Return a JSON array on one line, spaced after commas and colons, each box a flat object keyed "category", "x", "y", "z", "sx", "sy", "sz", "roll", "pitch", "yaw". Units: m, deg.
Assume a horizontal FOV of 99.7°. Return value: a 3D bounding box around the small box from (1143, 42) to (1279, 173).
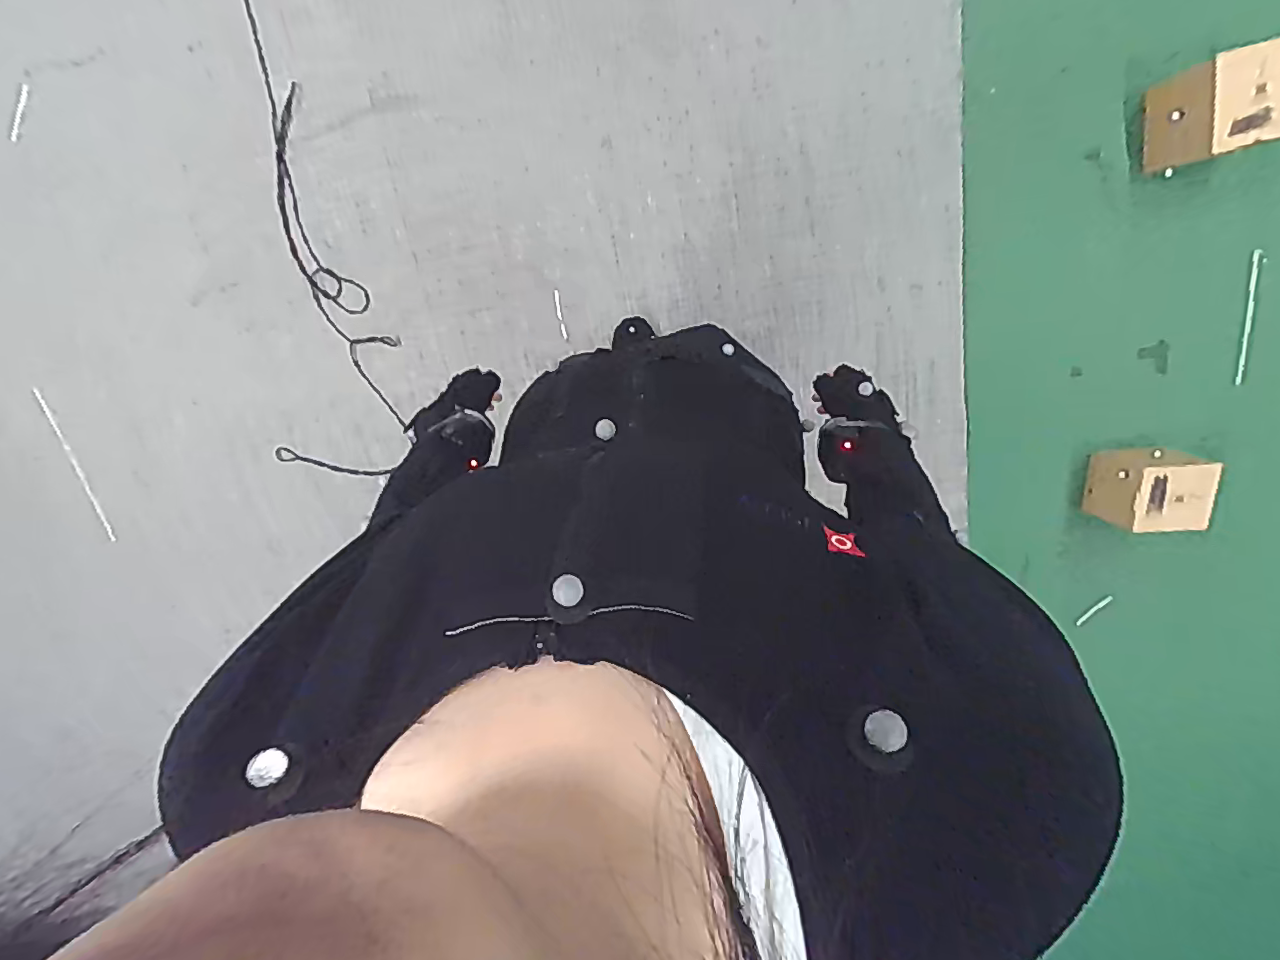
[{"category": "small box", "x": 1.194, "y": -0.758, "z": 1.117, "sx": 0.168, "sy": 0.176, "sz": 0.179, "roll": -12, "pitch": 104, "yaw": 7}]
